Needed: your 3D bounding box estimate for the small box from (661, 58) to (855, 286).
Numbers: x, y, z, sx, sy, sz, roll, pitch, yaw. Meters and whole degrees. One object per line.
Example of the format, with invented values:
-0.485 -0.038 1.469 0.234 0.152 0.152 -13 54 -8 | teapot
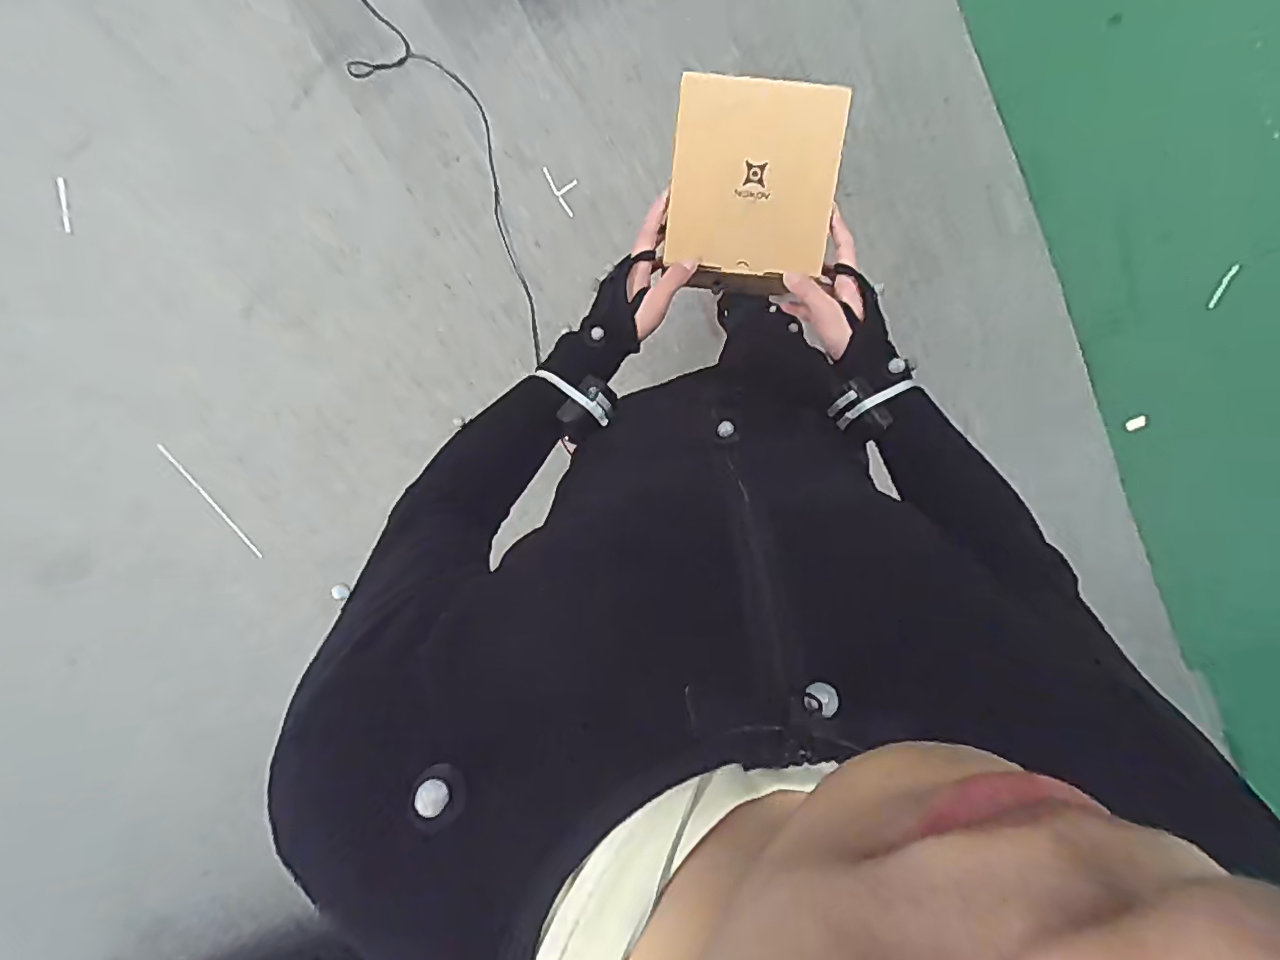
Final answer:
0.115 -0.324 0.606 0.168 0.176 0.179 6 105 -1 | small box
